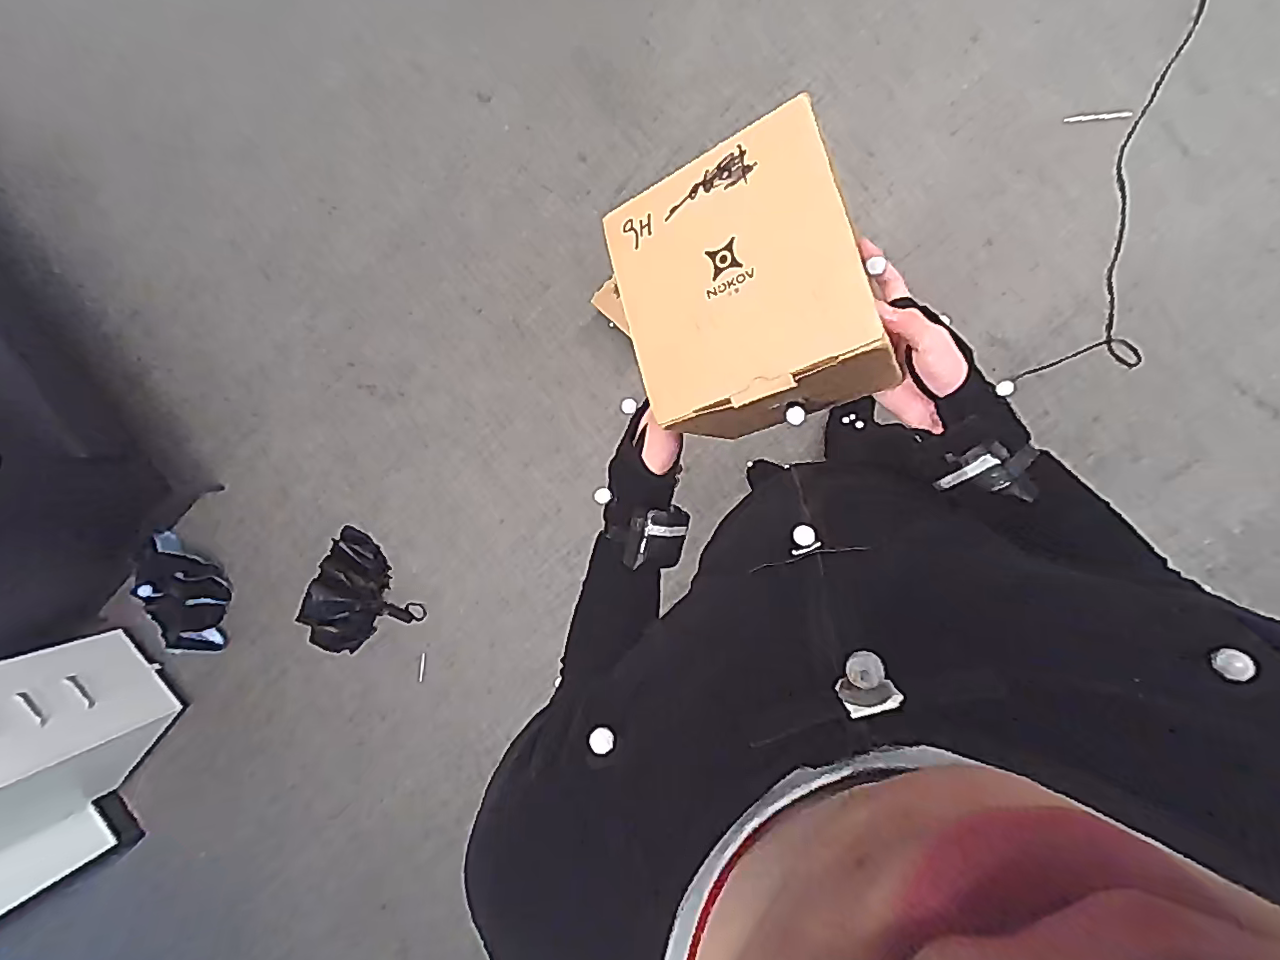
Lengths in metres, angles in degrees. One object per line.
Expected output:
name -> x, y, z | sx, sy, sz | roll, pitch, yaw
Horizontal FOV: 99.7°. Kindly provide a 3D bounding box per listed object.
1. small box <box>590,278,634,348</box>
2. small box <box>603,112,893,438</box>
small box -> -0.004, -0.467, 1.502 | 0.179, 0.176, 0.168 | 43, 102, 7
small box -> 0.099, -0.141, 0.451 | 0.168, 0.176, 0.179 | -19, 83, 27
